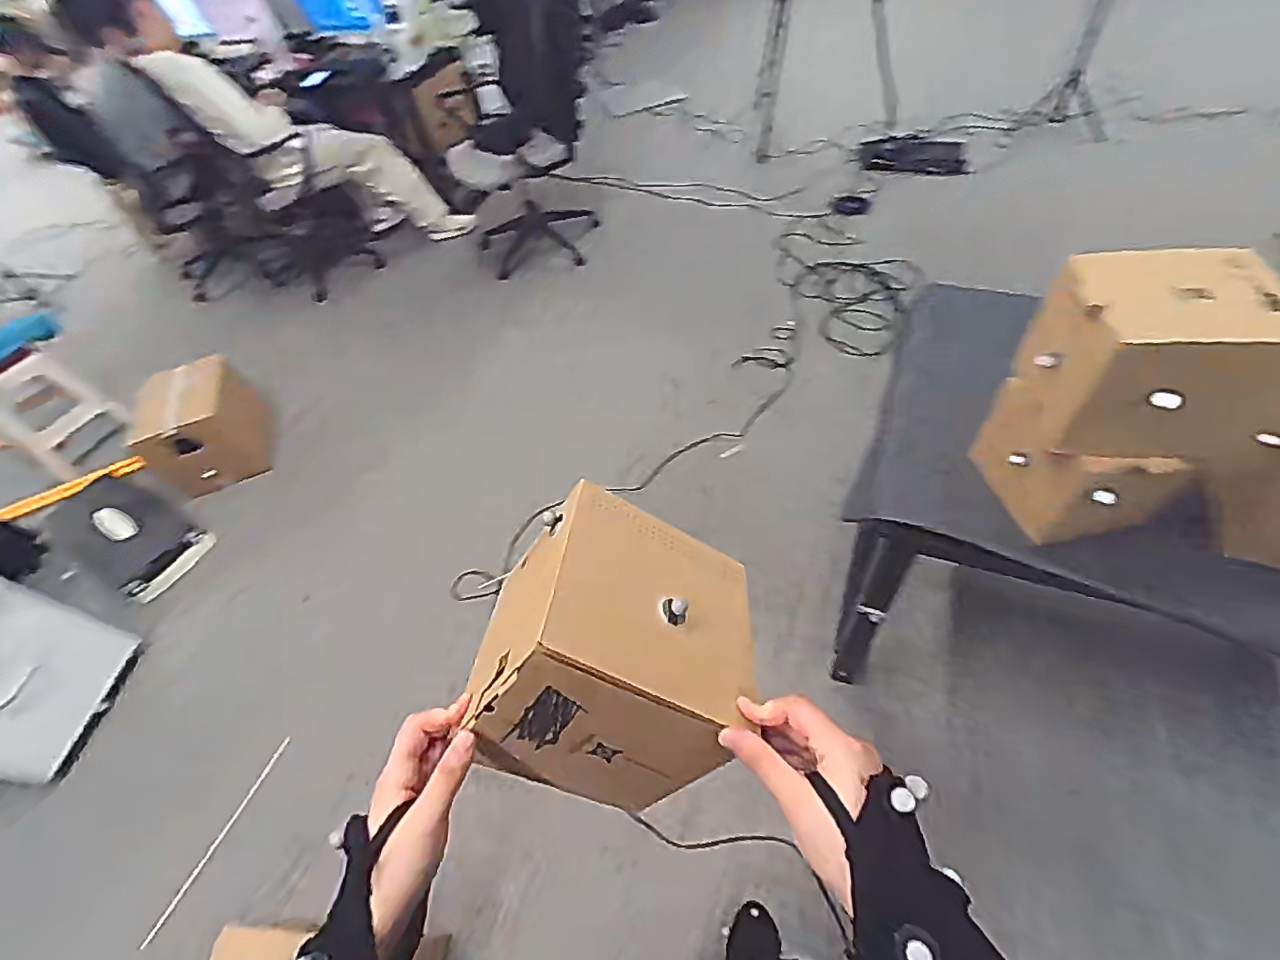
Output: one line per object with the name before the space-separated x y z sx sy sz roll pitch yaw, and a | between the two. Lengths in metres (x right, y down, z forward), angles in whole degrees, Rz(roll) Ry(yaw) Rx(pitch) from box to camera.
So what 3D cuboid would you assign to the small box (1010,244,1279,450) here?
small box | 0.564 -0.149 0.631 0.179 0.176 0.168 1 53 13
